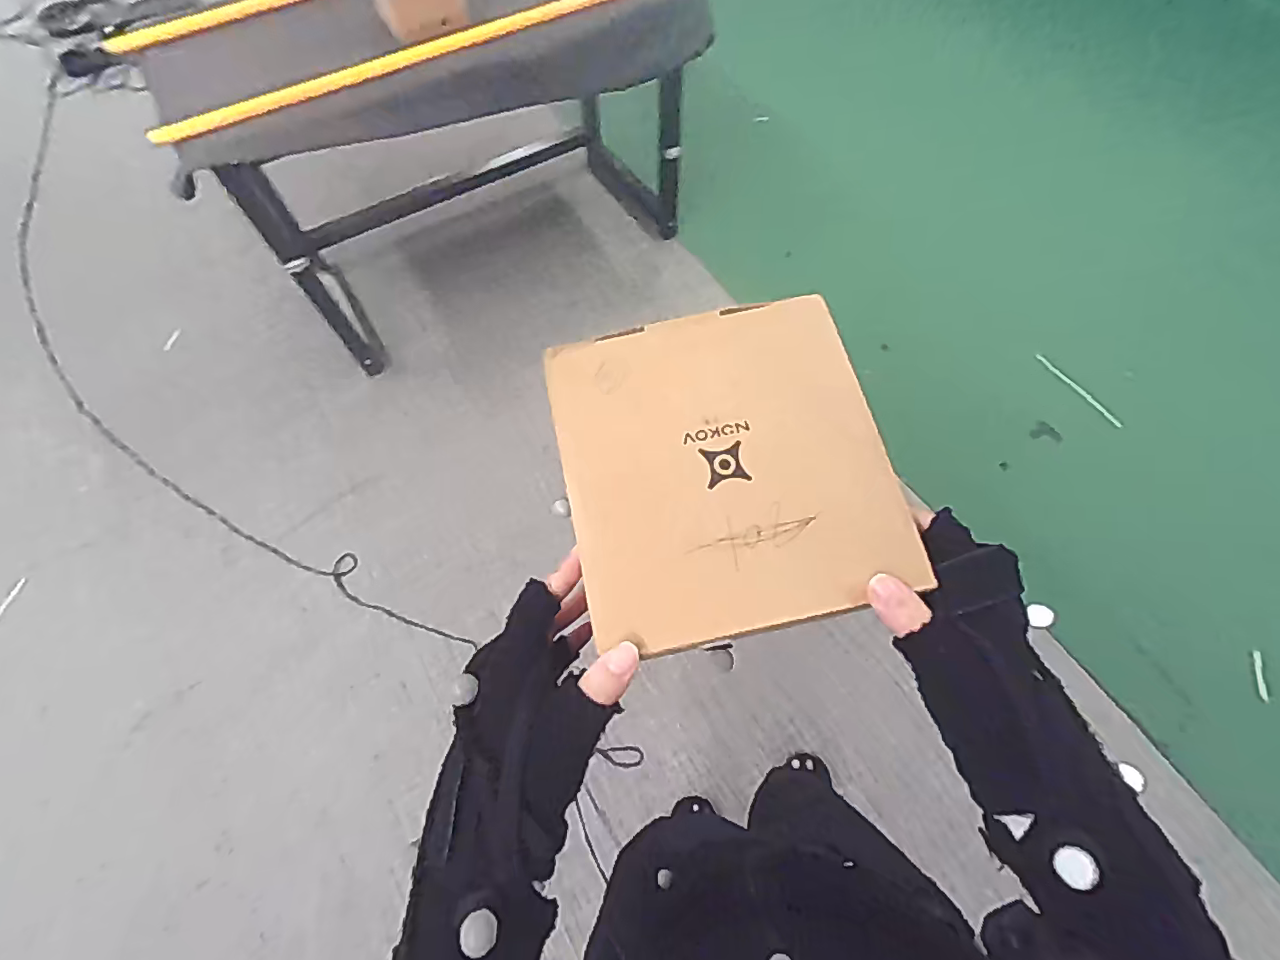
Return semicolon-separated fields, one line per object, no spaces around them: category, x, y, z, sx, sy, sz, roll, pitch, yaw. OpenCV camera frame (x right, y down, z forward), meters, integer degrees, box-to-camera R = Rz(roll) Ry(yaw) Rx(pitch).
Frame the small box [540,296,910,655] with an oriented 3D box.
small box;0.039;0.012;0.366;0.168;0.176;0.179;-13;71;-2

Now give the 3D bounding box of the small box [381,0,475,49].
small box;-0.498;-1.115;1.213;0.168;0.176;0.179;-29;65;-12
